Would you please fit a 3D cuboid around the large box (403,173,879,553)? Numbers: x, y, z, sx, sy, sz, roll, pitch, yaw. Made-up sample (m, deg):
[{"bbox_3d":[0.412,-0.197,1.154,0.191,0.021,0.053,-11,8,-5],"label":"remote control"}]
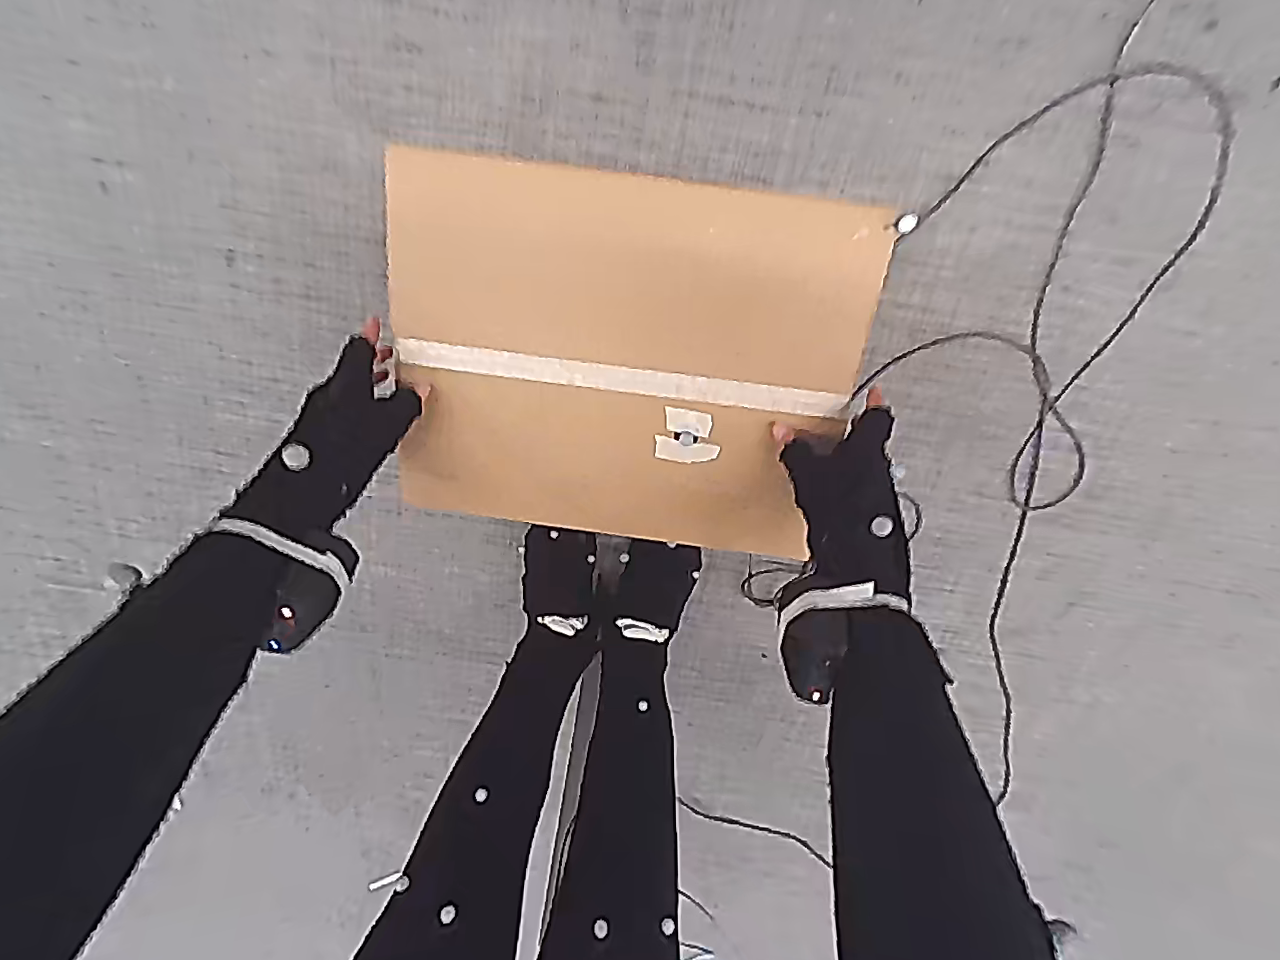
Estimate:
[{"bbox_3d":[-0.010,-0.139,0.634,0.408,0.320,0.320,7,111,1],"label":"large box"}]
